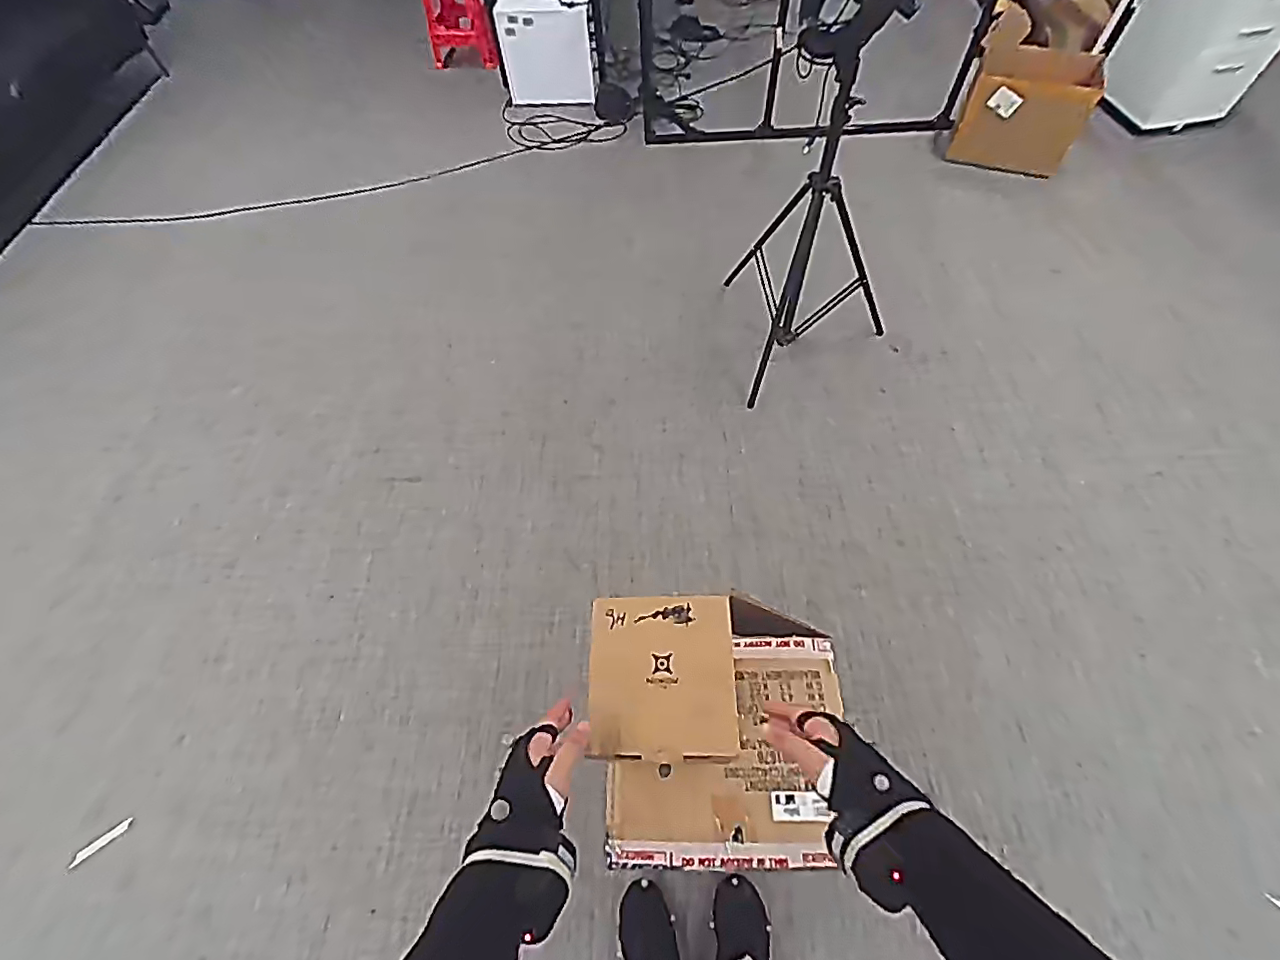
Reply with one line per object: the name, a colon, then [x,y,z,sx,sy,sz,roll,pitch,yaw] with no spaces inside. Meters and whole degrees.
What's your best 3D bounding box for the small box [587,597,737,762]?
small box: [0.032,0.256,0.684,0.168,0.176,0.179,-2,62,4]
